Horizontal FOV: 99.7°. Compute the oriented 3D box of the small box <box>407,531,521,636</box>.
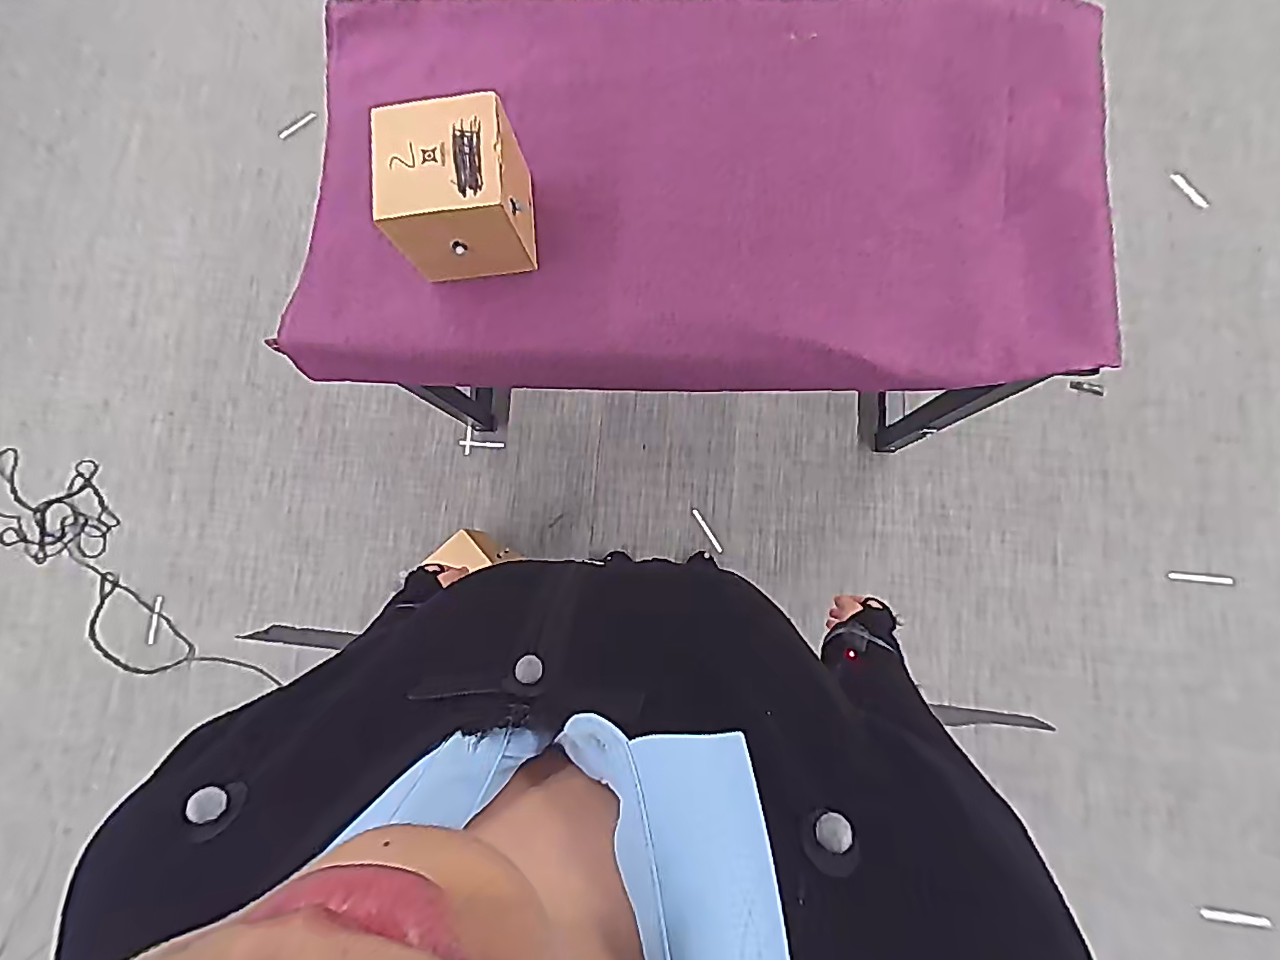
[{"bbox_3d":[-0.404,0.240,1.284,0.179,0.176,0.168,-42,81,-3],"label":"small box"}]

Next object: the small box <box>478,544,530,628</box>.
[{"bbox_3d":[-0.416,0.270,1.448,0.168,0.176,0.179,26,84,6],"label":"small box"}]
